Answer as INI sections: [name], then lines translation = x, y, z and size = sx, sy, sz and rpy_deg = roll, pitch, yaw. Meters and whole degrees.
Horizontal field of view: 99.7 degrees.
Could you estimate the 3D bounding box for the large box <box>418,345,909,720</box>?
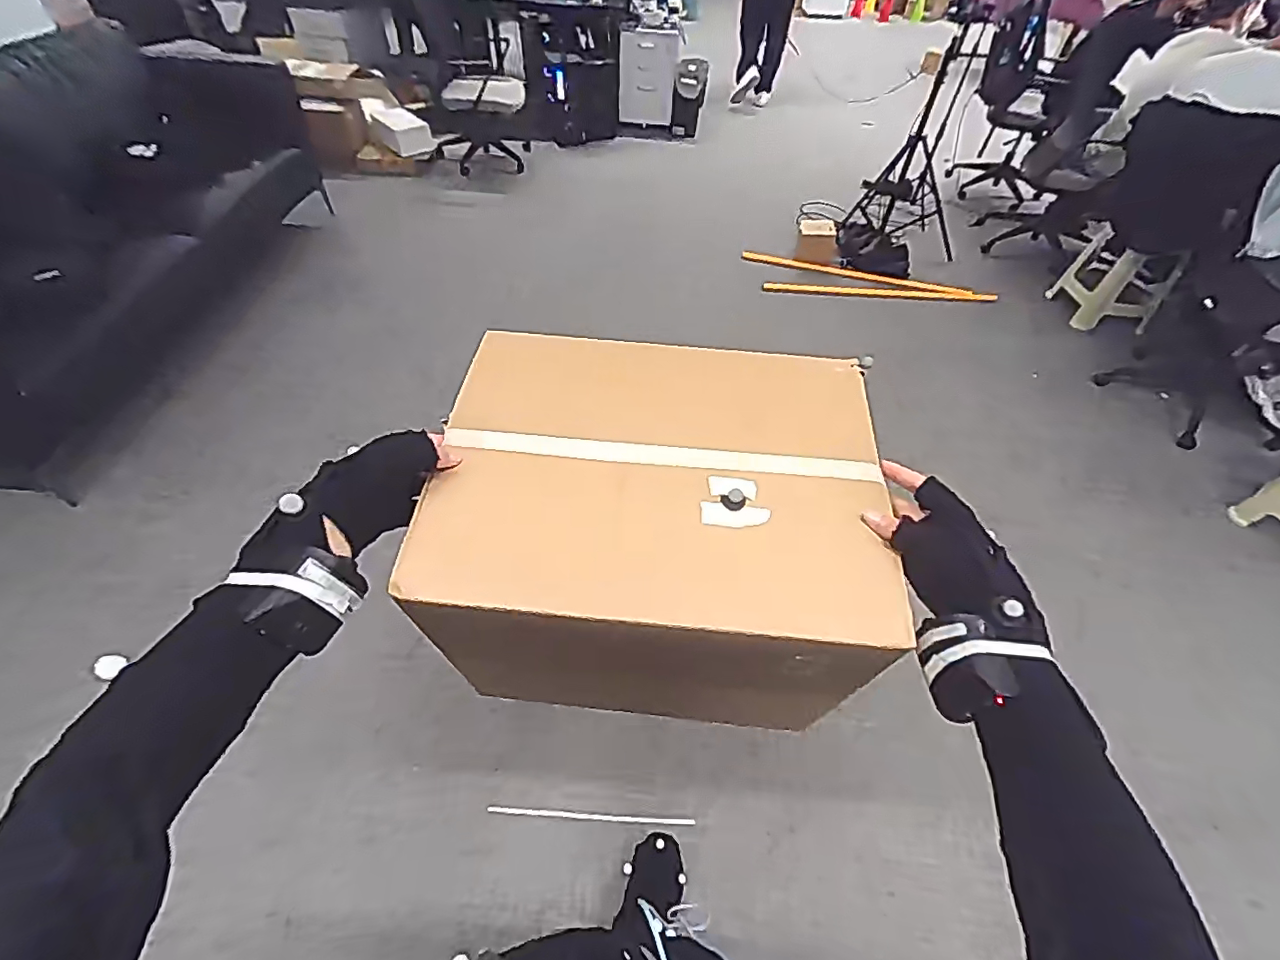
[large box]
translation = 0.021, 0.072, 0.635
size = 0.408, 0.320, 0.320
rpy_deg = 5, 55, 1
